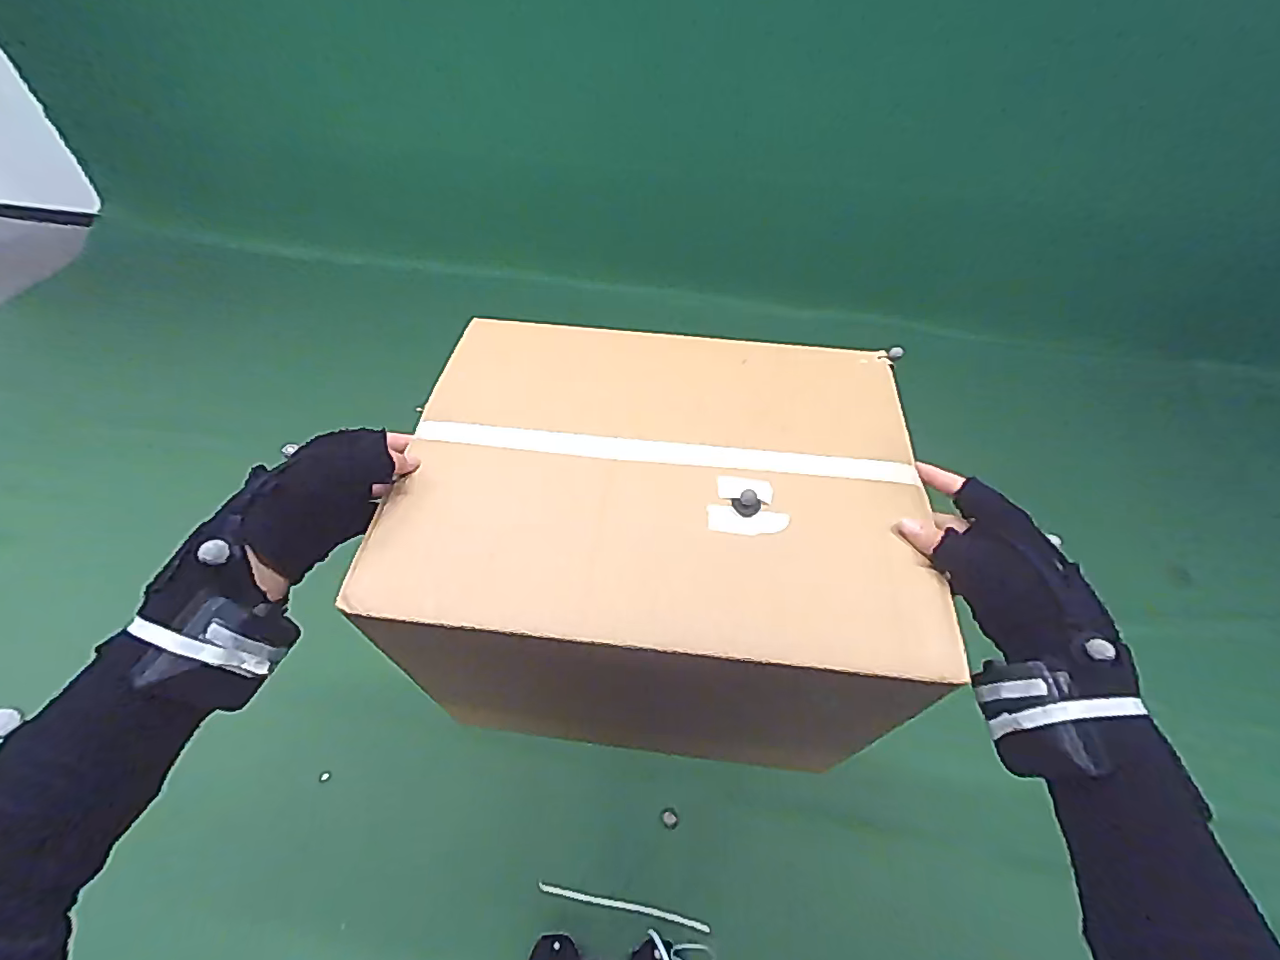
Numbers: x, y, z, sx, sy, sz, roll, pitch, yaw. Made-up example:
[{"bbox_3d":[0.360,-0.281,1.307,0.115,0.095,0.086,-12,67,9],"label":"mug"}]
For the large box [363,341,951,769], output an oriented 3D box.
[{"bbox_3d":[0.018,0.084,0.566,0.408,0.320,0.320,5,52,4],"label":"large box"}]
